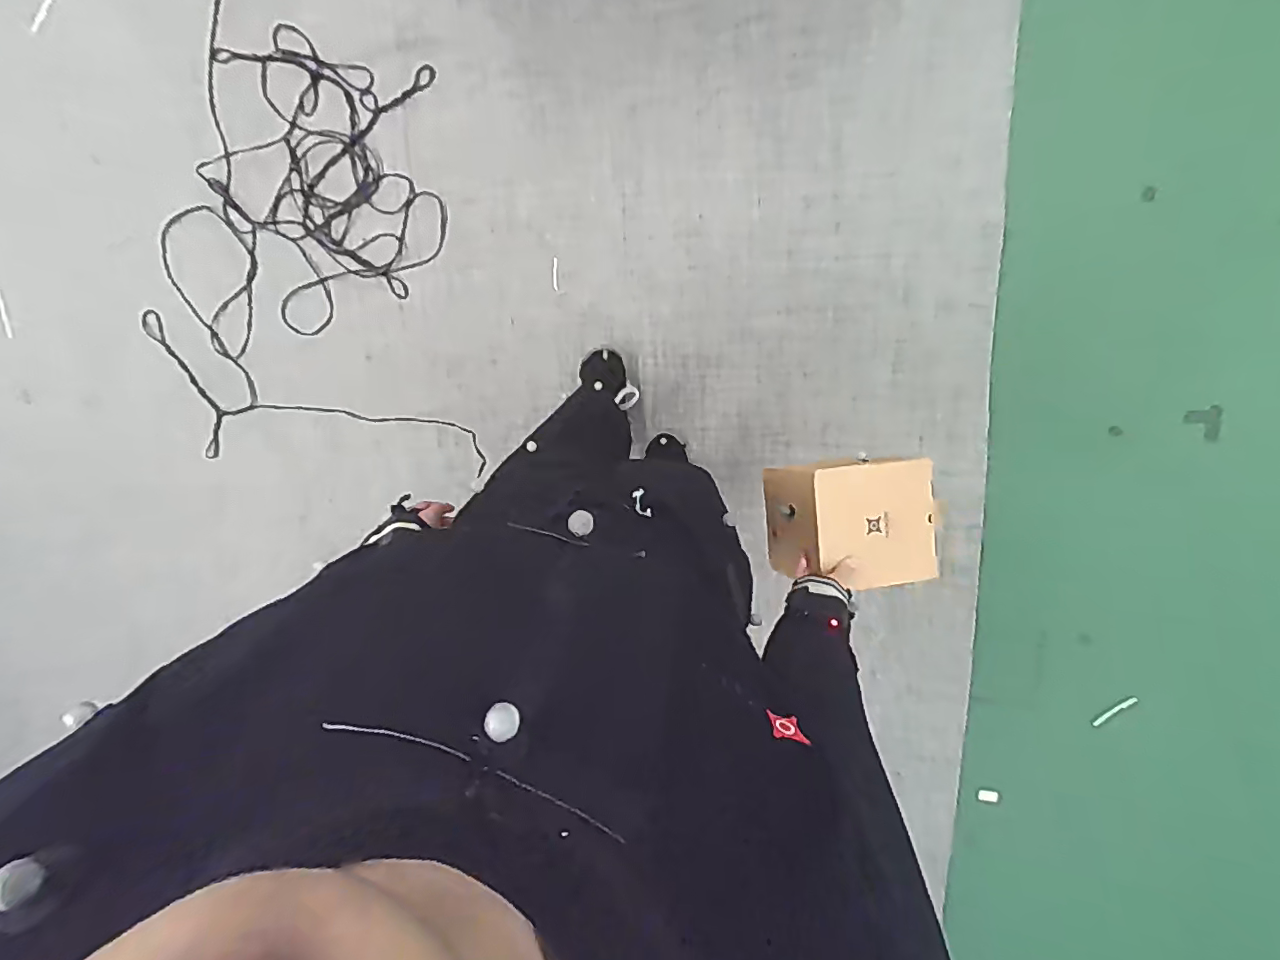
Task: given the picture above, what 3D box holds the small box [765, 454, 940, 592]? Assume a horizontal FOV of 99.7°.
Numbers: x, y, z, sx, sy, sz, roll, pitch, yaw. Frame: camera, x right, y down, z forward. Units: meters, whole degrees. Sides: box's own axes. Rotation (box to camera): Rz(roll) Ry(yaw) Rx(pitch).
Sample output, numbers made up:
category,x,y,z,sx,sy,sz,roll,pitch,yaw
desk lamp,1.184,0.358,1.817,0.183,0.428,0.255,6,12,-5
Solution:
category,x,y,z,sx,sy,sz,roll,pitch,yaw
small box,0.292,0.054,0.779,0.179,0.176,0.168,-7,93,-11
